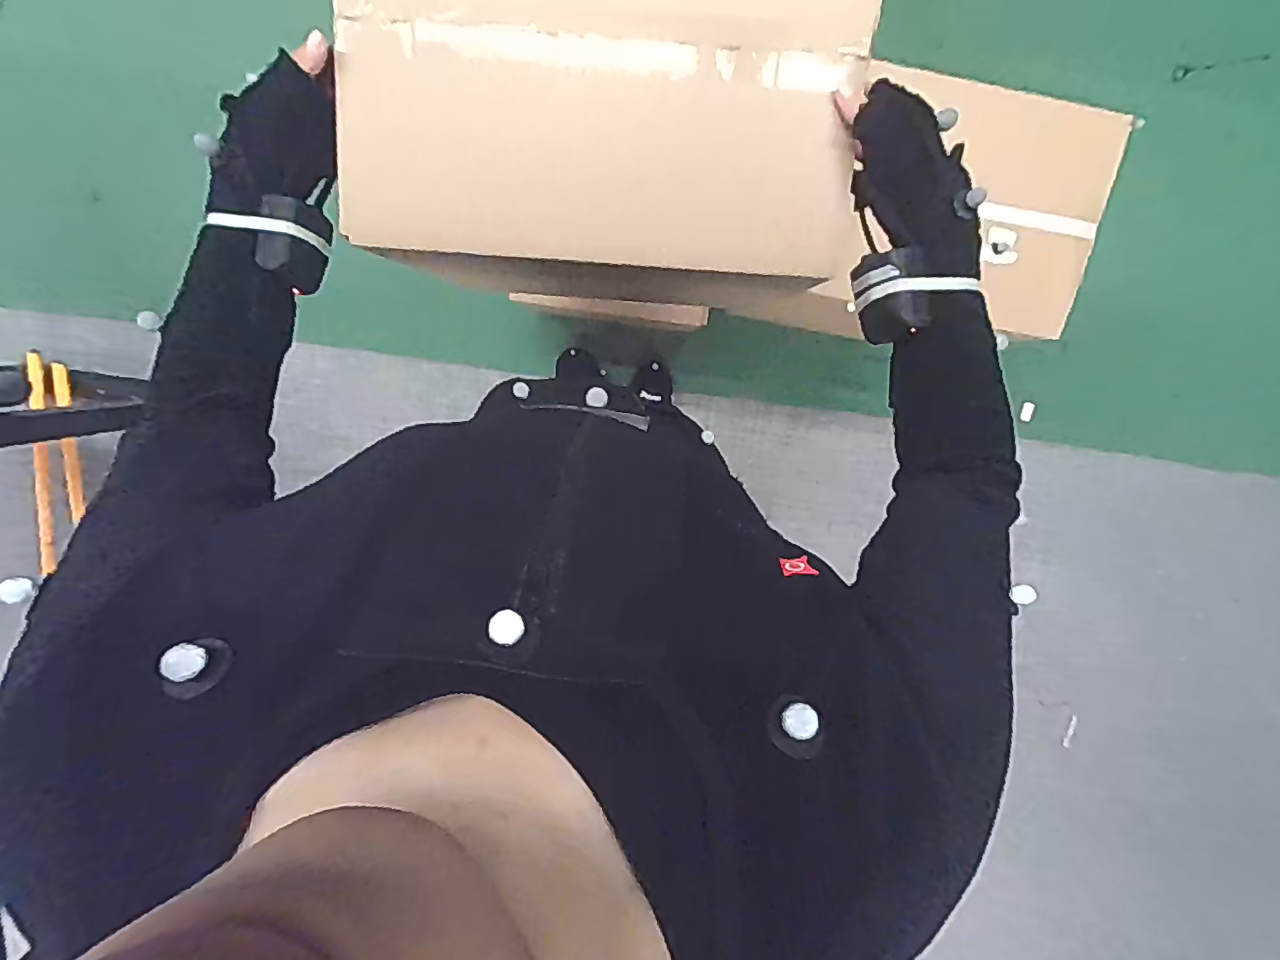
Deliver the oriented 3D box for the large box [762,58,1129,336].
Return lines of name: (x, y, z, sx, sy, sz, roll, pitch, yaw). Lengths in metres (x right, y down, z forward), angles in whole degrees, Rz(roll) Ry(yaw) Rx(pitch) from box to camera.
large box: (0.462, -0.435, 0.923, 0.408, 0.320, 0.320, 9, 104, -3)
